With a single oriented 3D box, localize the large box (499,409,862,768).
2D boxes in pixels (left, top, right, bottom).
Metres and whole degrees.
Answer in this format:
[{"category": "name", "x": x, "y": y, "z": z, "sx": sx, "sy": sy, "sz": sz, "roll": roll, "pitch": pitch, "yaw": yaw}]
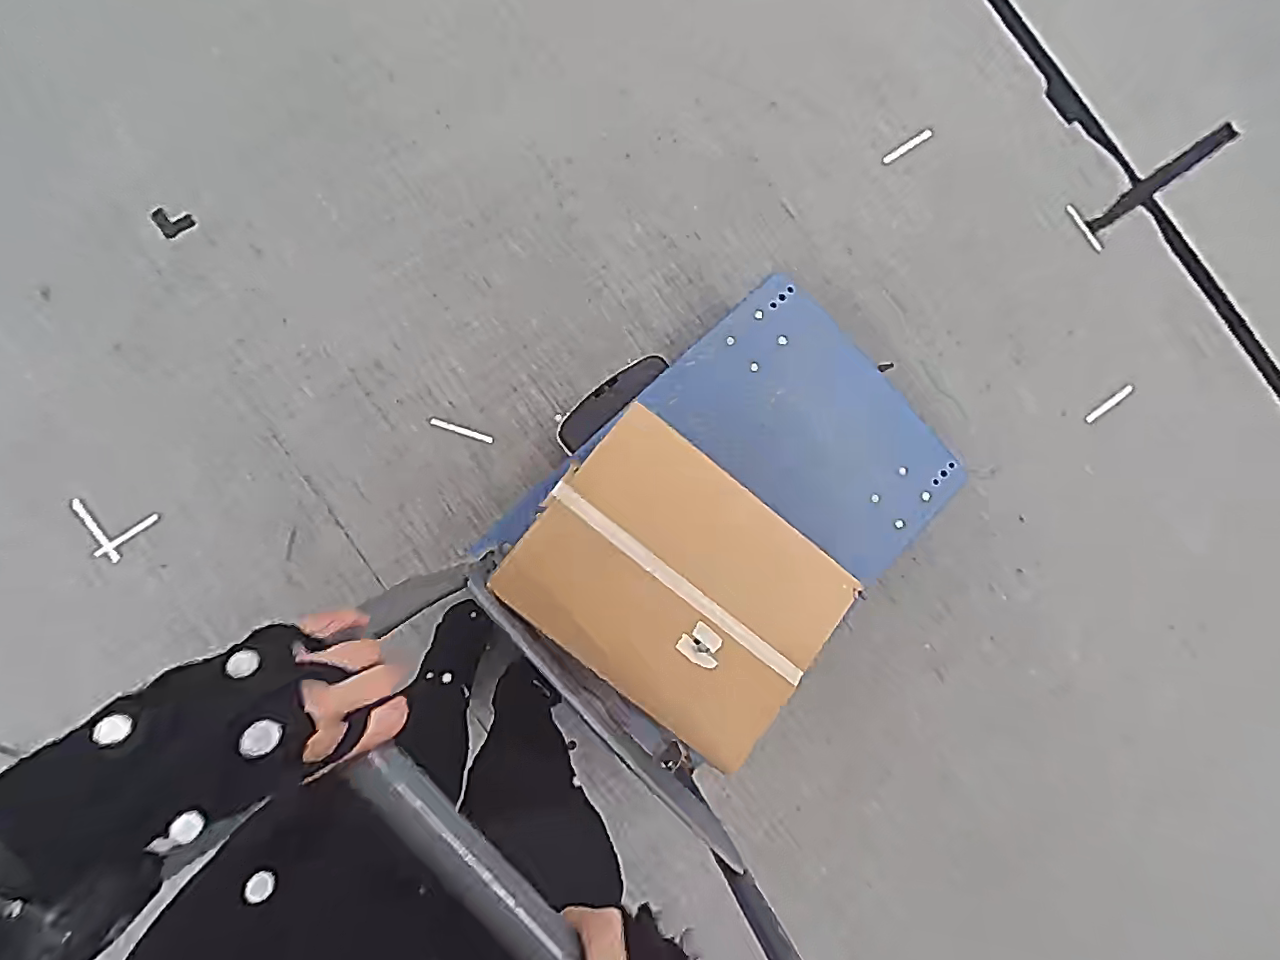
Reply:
[{"category": "large box", "x": 0.042, "y": 0.152, "z": 0.862, "sx": 0.408, "sy": 0.320, "sz": 0.320, "roll": 39, "pitch": 82, "yaw": -3}]
